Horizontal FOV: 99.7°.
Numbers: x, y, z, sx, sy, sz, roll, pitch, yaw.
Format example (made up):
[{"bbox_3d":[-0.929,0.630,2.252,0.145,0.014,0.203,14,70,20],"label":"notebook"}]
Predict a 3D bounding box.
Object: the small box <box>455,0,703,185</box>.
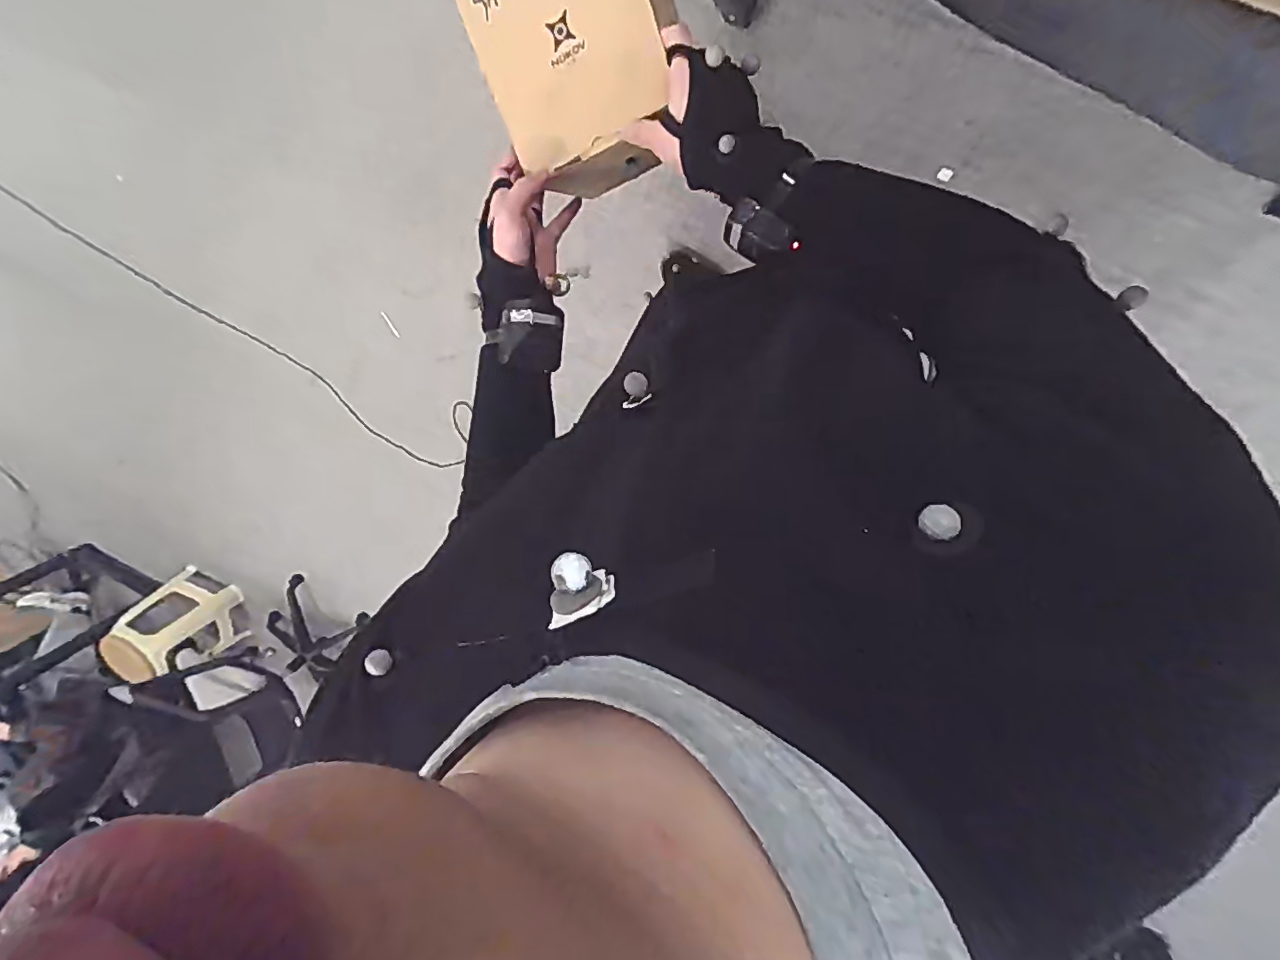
[{"bbox_3d":[-0.047,-0.425,0.556,0.168,0.176,0.179,-14,108,24],"label":"small box"}]
